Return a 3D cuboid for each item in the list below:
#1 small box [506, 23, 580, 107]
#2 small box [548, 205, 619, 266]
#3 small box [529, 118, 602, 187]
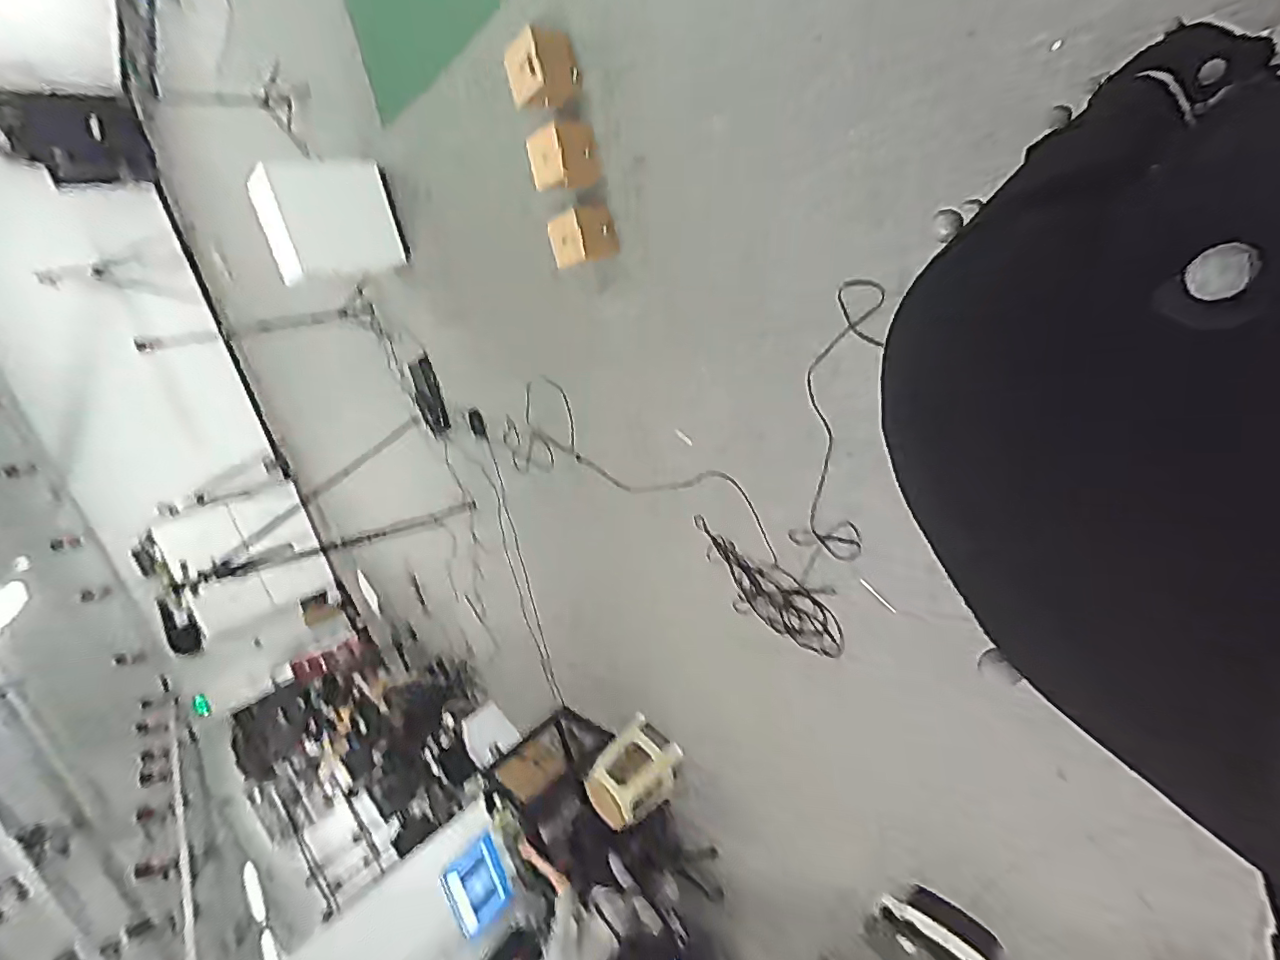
[{"bbox_3d":[-0.321,-1.400,1.836,0.179,0.176,0.168,2,112,48],"label":"small box"},{"bbox_3d":[-0.204,-0.896,1.983,0.179,0.176,0.168,4,114,47],"label":"small box"},{"bbox_3d":[-0.261,-1.148,1.911,0.179,0.176,0.168,6,115,46],"label":"small box"}]
